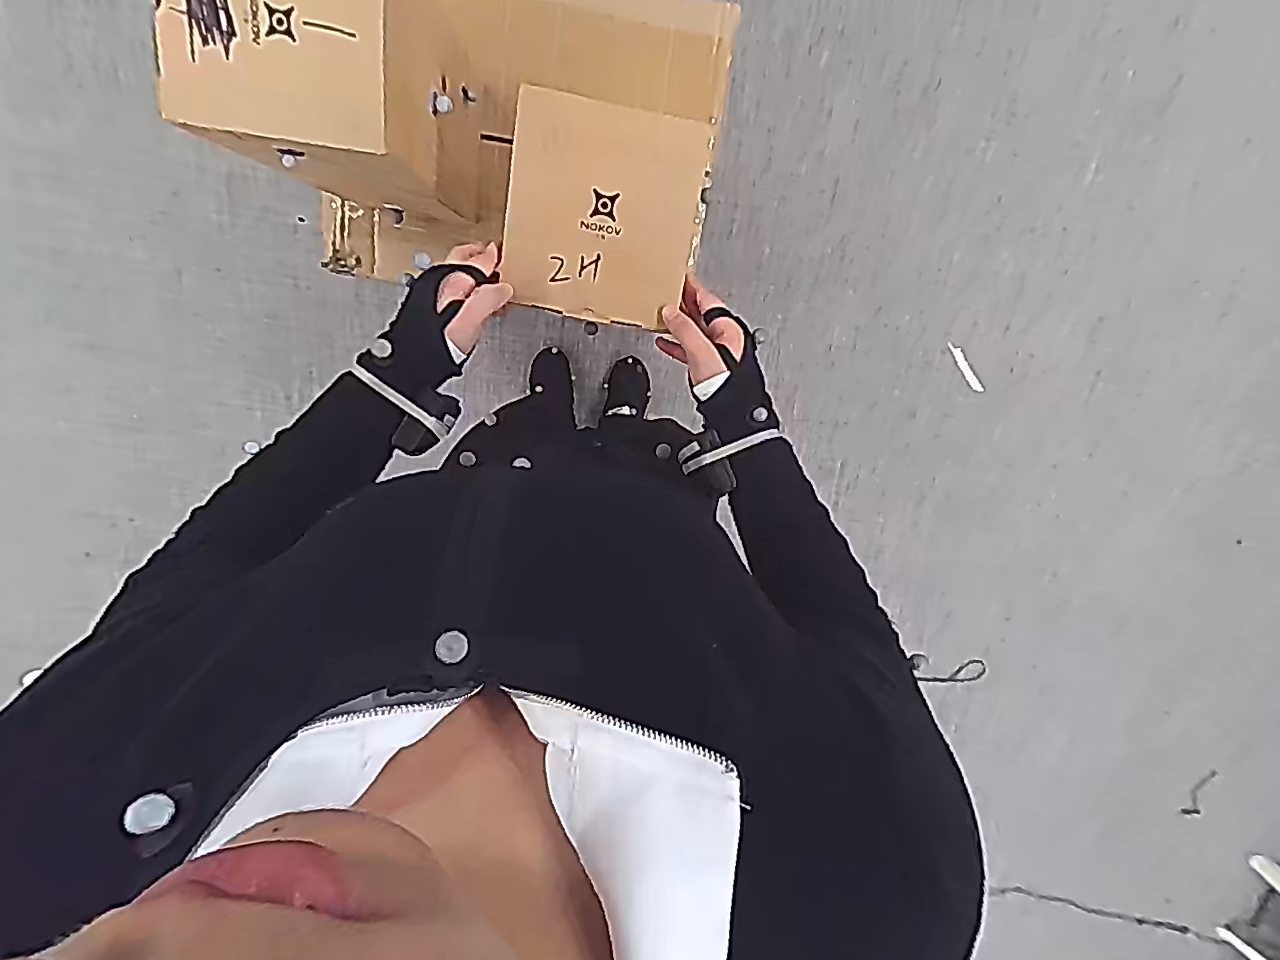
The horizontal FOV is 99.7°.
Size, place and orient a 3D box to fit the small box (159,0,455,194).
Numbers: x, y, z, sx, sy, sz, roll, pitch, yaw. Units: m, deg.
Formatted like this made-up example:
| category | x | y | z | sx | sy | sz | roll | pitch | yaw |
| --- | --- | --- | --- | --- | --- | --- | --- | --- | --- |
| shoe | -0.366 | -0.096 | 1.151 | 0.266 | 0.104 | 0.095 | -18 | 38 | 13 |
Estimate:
| category | x | y | z | sx | sy | sz | roll | pitch | yaw |
| --- | --- | --- | --- | --- | --- | --- | --- | --- | --- |
| small box | -0.286 | -0.379 | 0.497 | 0.179 | 0.176 | 0.168 | 7 | 106 | -4 |

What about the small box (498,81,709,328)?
| category | x | y | z | sx | sy | sz | roll | pitch | yaw |
| --- | --- | --- | --- | --- | --- | --- | --- | --- | --- |
| small box | -0.037 | -0.259 | 0.555 | 0.168 | 0.176 | 0.179 | 10 | 105 | -3 |

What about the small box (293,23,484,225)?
| category | x | y | z | sx | sy | sz | roll | pitch | yaw |
| --- | --- | --- | --- | --- | --- | --- | --- | --- | --- |
| small box | -0.293 | -0.426 | 0.654 | 0.168 | 0.176 | 0.179 | 7 | 107 | -4 |
